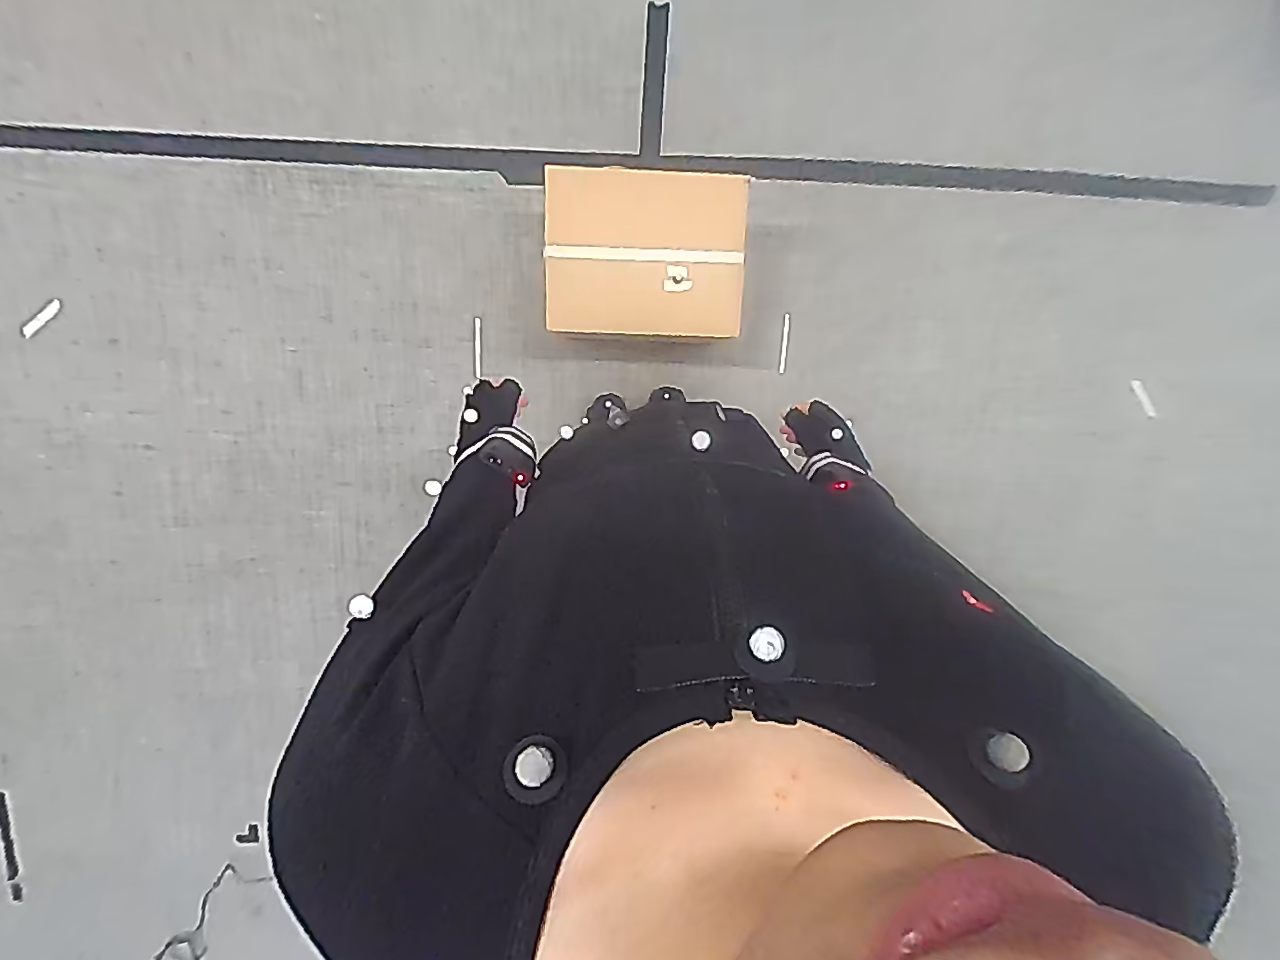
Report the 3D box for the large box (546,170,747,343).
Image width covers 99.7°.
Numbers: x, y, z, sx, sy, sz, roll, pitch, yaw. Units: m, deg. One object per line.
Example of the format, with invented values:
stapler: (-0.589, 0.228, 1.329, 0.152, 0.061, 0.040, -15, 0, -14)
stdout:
large box: (0.003, -0.482, 1.239, 0.408, 0.320, 0.320, 1, 102, -4)
